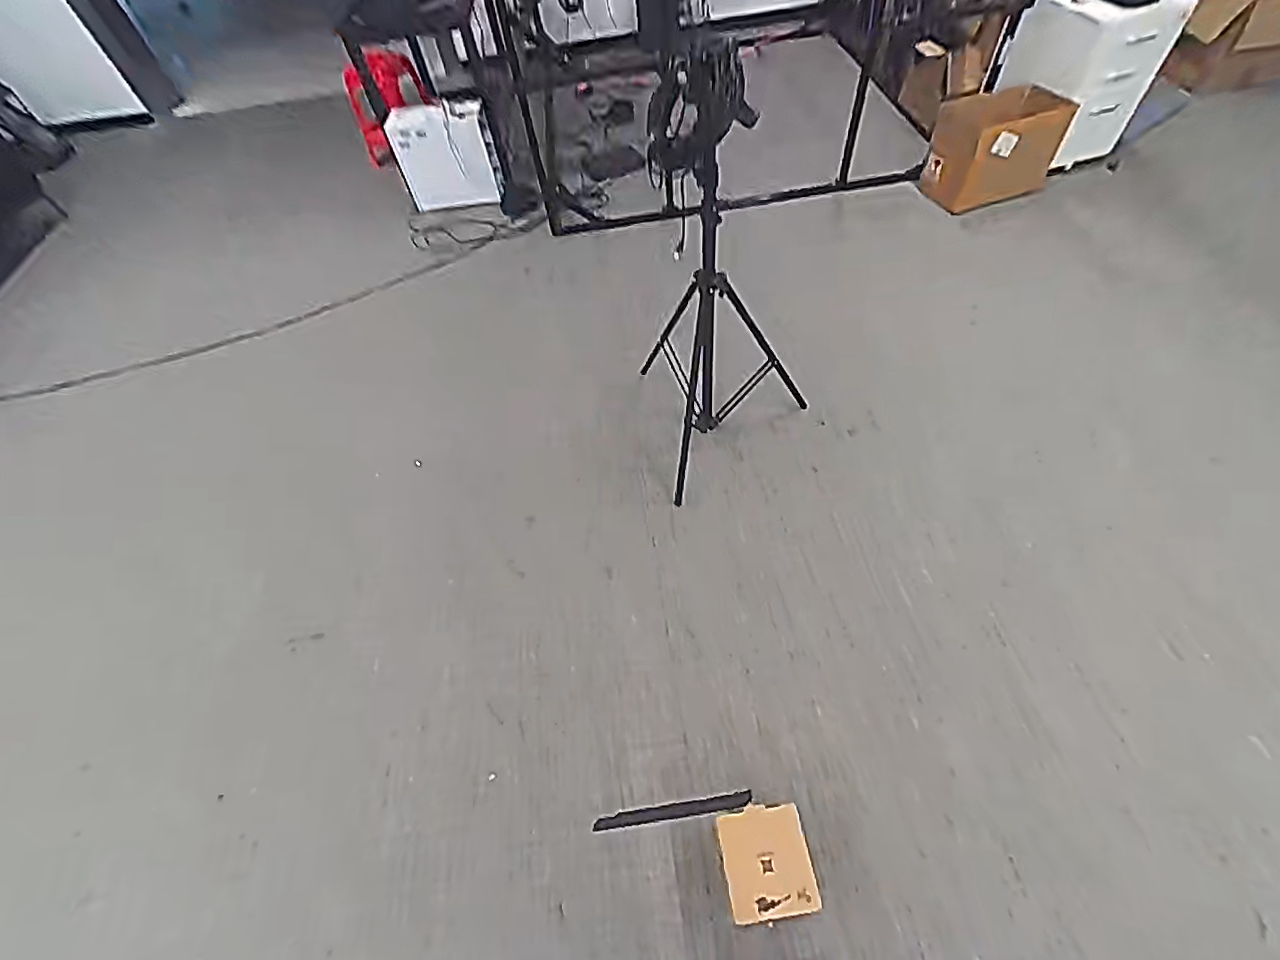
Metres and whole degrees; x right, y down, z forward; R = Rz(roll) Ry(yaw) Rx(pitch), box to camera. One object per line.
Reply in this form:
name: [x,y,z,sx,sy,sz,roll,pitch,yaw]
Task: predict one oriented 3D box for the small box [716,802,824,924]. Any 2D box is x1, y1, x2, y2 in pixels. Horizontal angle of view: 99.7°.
small box: [0.252,0.777,1.098,0.168,0.176,0.179,-10,53,-1]
